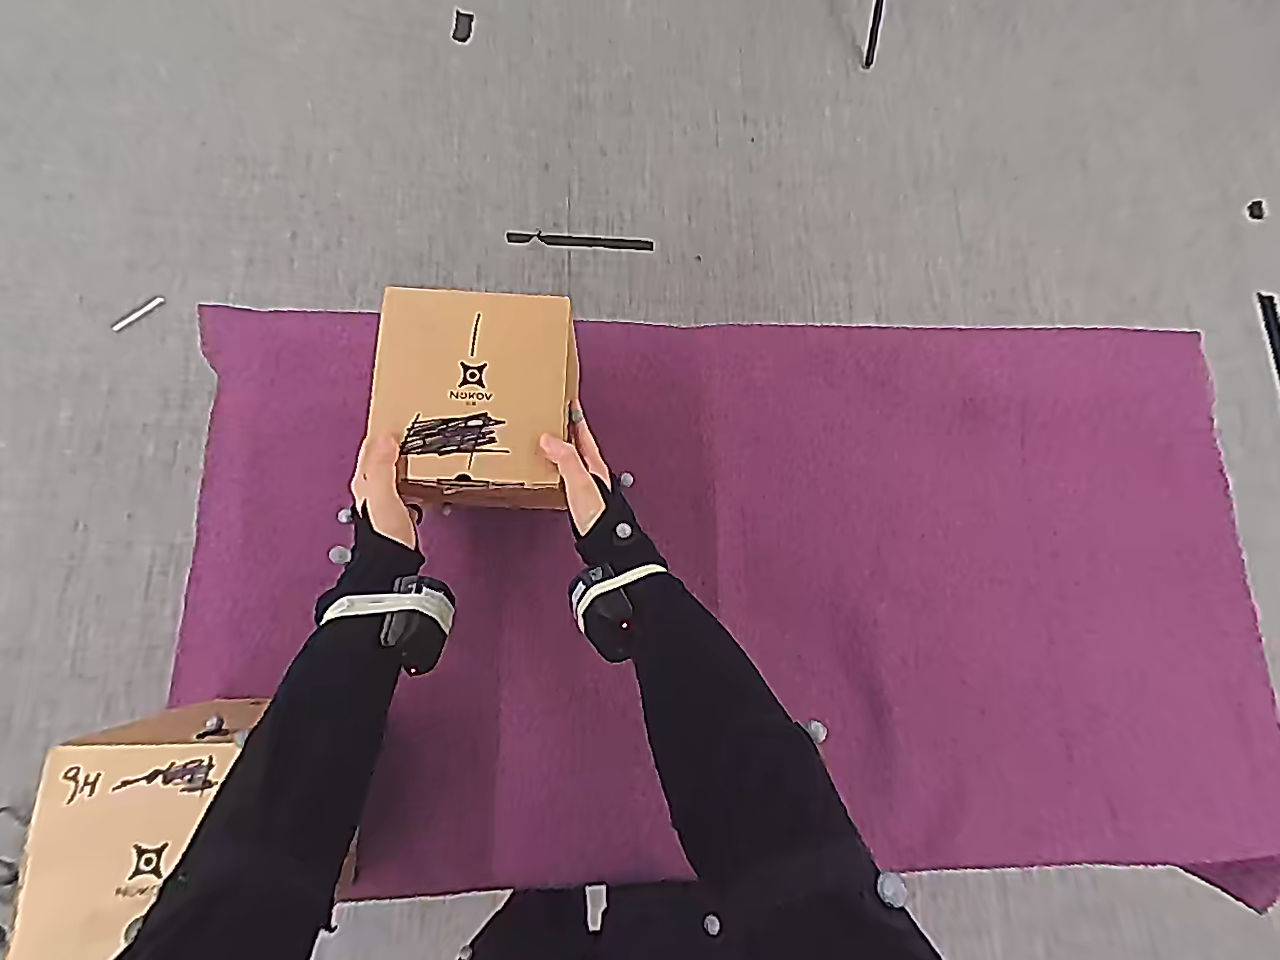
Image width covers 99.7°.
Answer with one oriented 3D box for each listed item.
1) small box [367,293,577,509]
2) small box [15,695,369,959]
[{"bbox_3d":[-0.153,-0.066,0.552,0.168,0.176,0.179,2,79,-4],"label":"small box"},{"bbox_3d":[-0.356,0.297,0.468,0.168,0.176,0.179,1,79,-4],"label":"small box"}]
